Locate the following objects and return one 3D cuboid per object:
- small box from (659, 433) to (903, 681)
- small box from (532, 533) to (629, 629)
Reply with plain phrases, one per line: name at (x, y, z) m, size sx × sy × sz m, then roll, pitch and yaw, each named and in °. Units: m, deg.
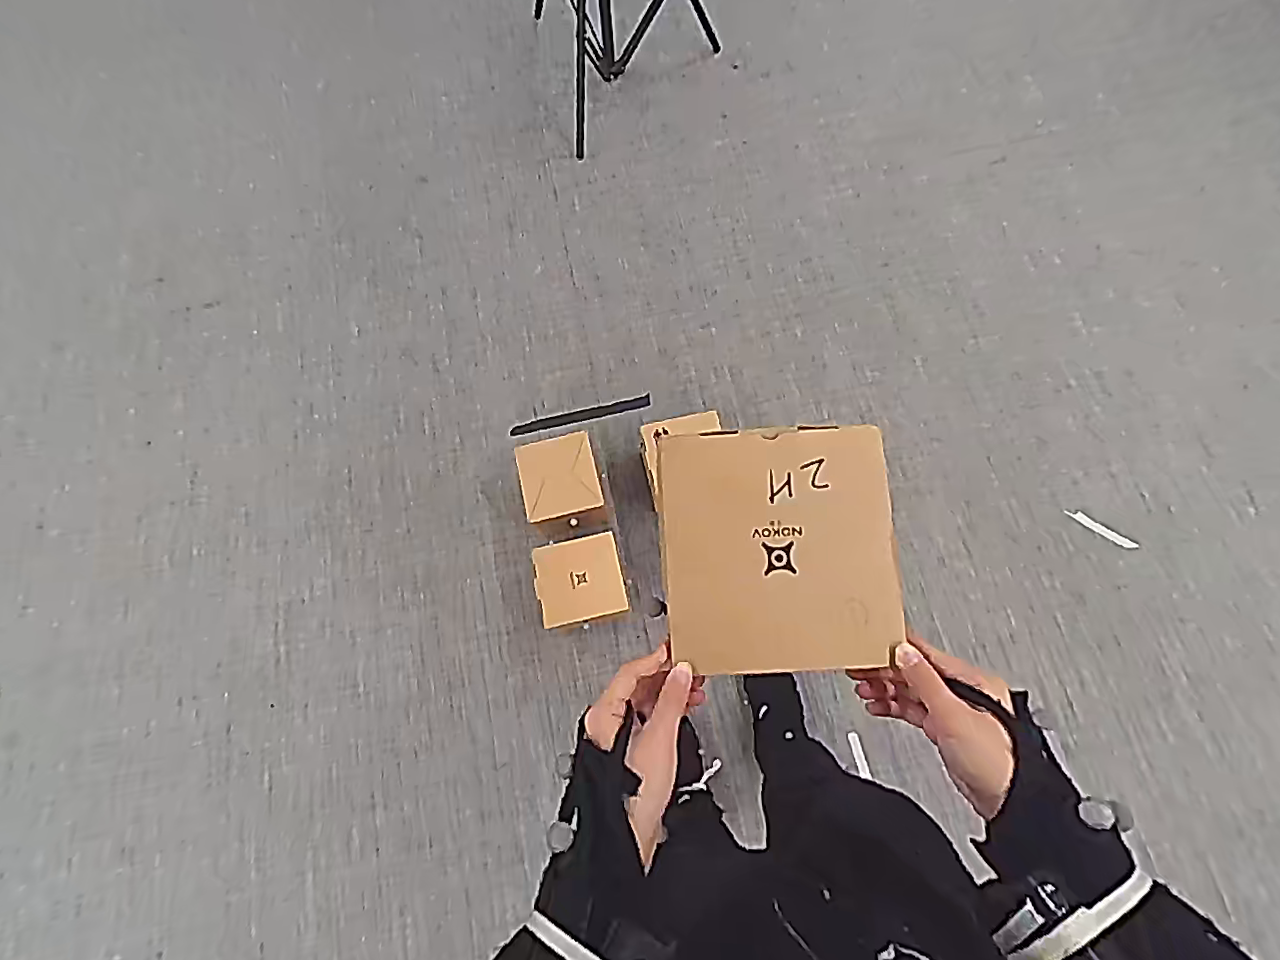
small box at (0.103, 0.065, 0.471) m, size 0.168 × 0.176 × 0.179 m, roll -3°, pitch 81°, yaw 0°
small box at (-0.123, 0.224, 1.181) m, size 0.179 × 0.176 × 0.168 m, roll -13°, pitch 74°, yaw -1°
